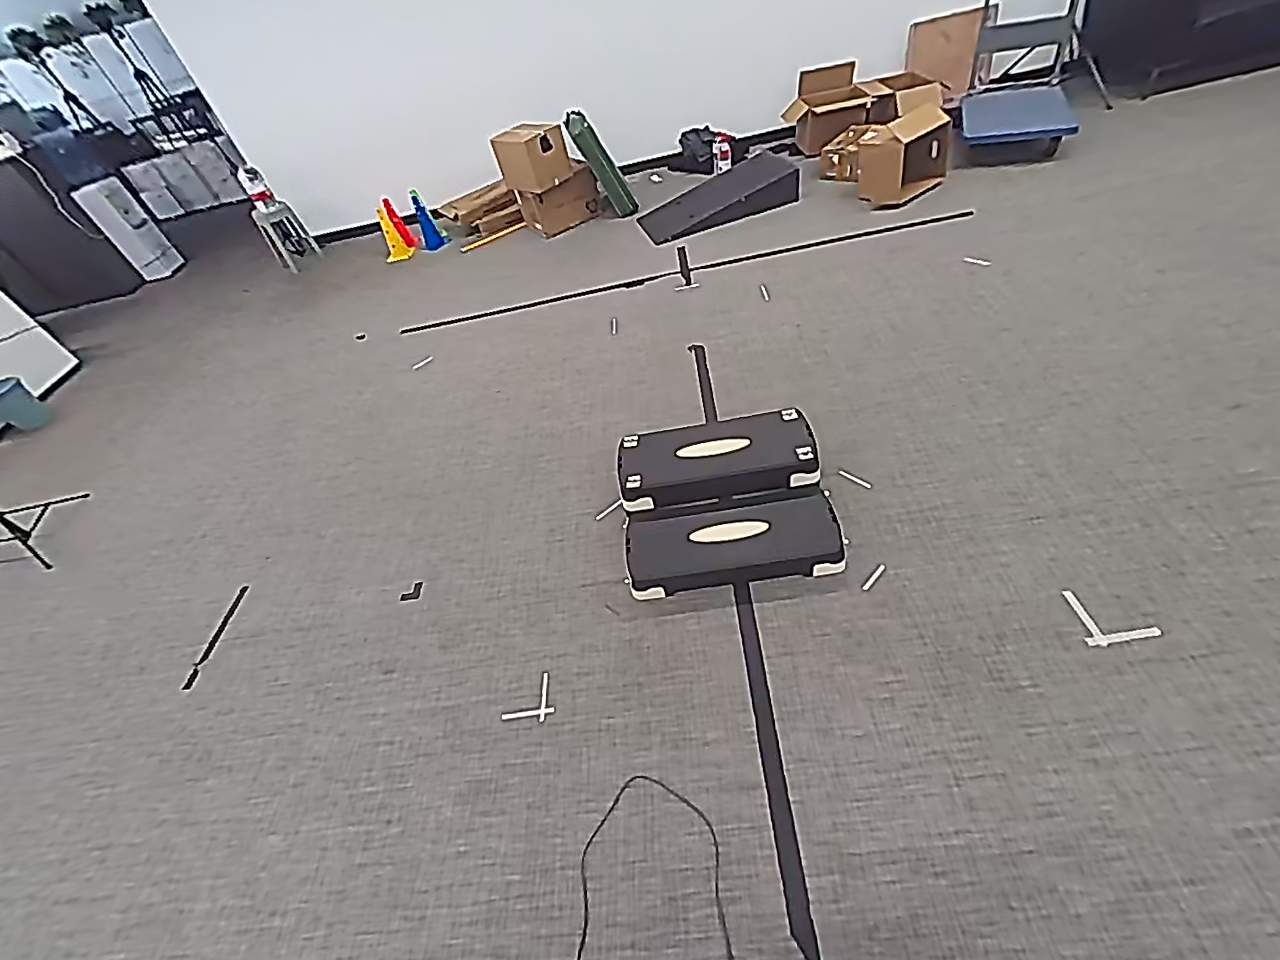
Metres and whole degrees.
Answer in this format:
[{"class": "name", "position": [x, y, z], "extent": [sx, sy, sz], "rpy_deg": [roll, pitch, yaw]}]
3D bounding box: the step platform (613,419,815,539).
[{"class": "step platform", "position": [0.246, -0.008, 1.882], "extent": [0.684, 0.204, 0.286], "rpy_deg": [-10, 46, 5]}]
